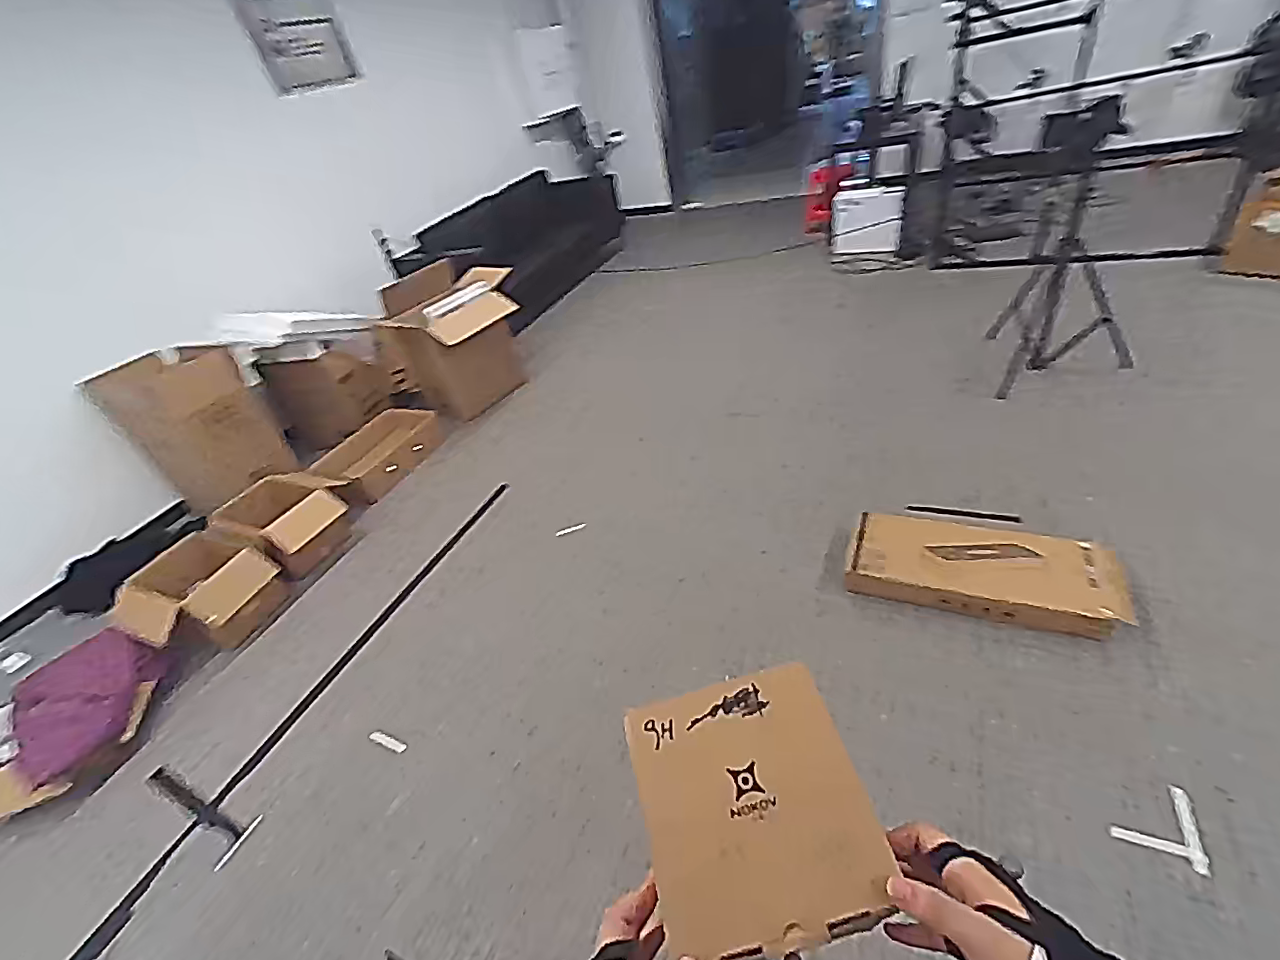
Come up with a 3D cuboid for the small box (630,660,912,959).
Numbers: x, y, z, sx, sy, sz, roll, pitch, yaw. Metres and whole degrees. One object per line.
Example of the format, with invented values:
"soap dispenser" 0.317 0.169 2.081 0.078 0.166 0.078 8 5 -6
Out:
"small box" 0.099 0.289 0.468 0.168 0.176 0.179 -14 47 -2
